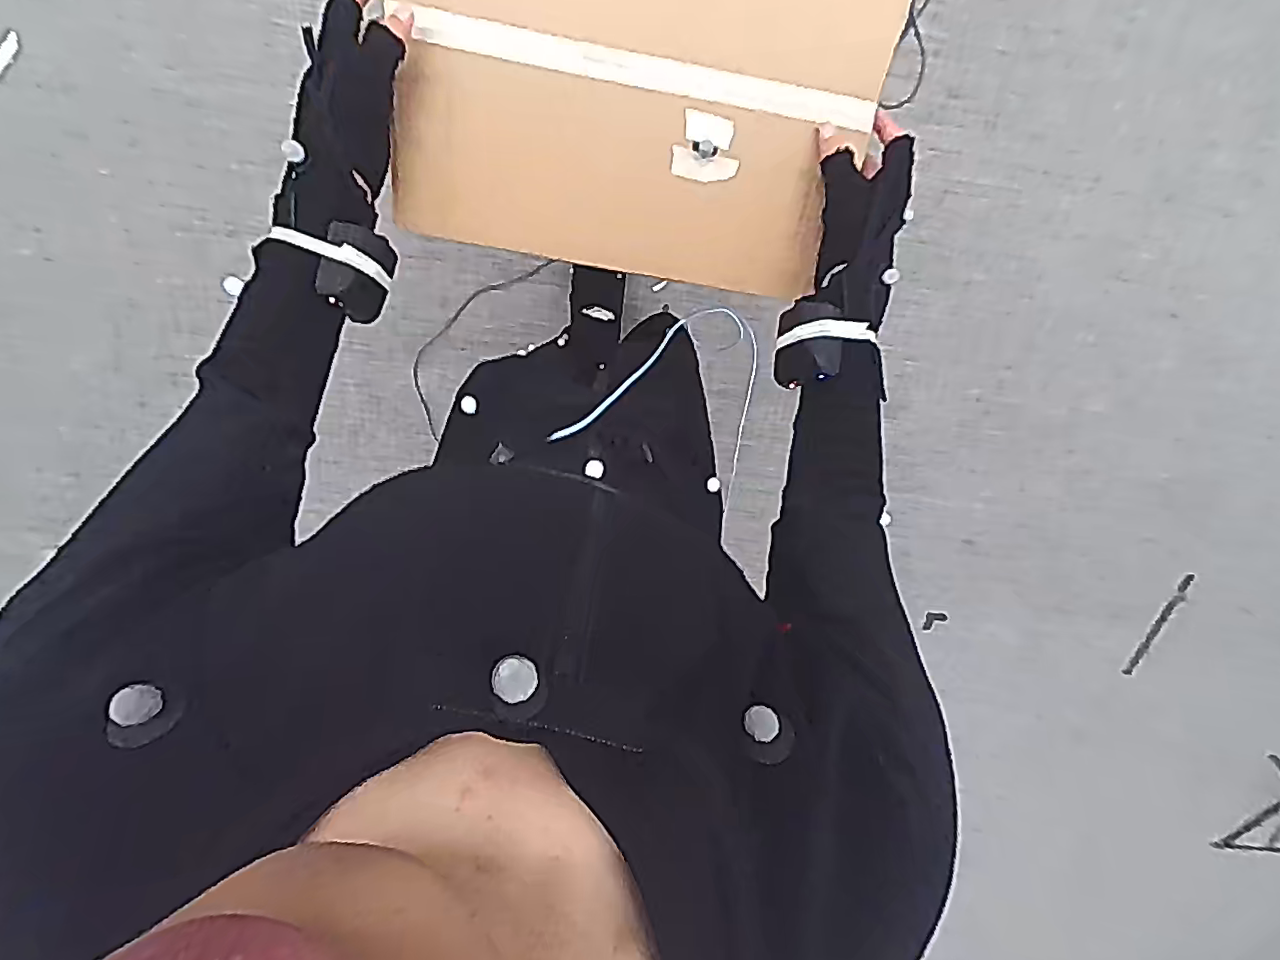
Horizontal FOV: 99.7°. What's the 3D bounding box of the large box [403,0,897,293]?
[{"bbox_3d":[-0.003,-0.417,0.590,0.408,0.320,0.320,8,119,-6],"label":"large box"}]
